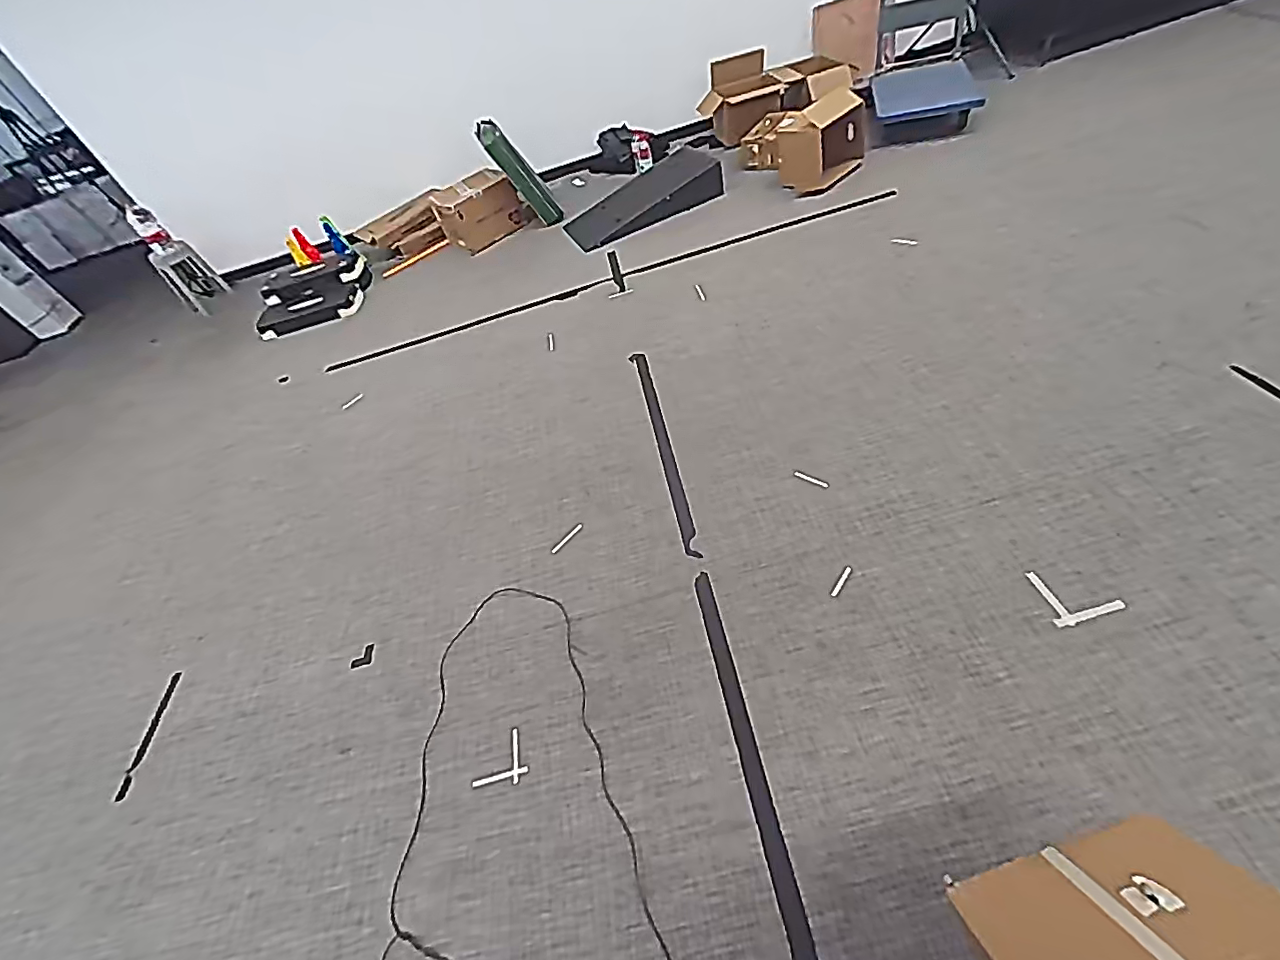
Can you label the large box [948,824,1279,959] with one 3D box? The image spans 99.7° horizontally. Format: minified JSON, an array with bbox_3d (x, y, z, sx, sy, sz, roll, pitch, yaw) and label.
[{"bbox_3d":[0.631,0.667,0.571,0.320,0.408,0.320,-22,81,2],"label":"large box"}]
